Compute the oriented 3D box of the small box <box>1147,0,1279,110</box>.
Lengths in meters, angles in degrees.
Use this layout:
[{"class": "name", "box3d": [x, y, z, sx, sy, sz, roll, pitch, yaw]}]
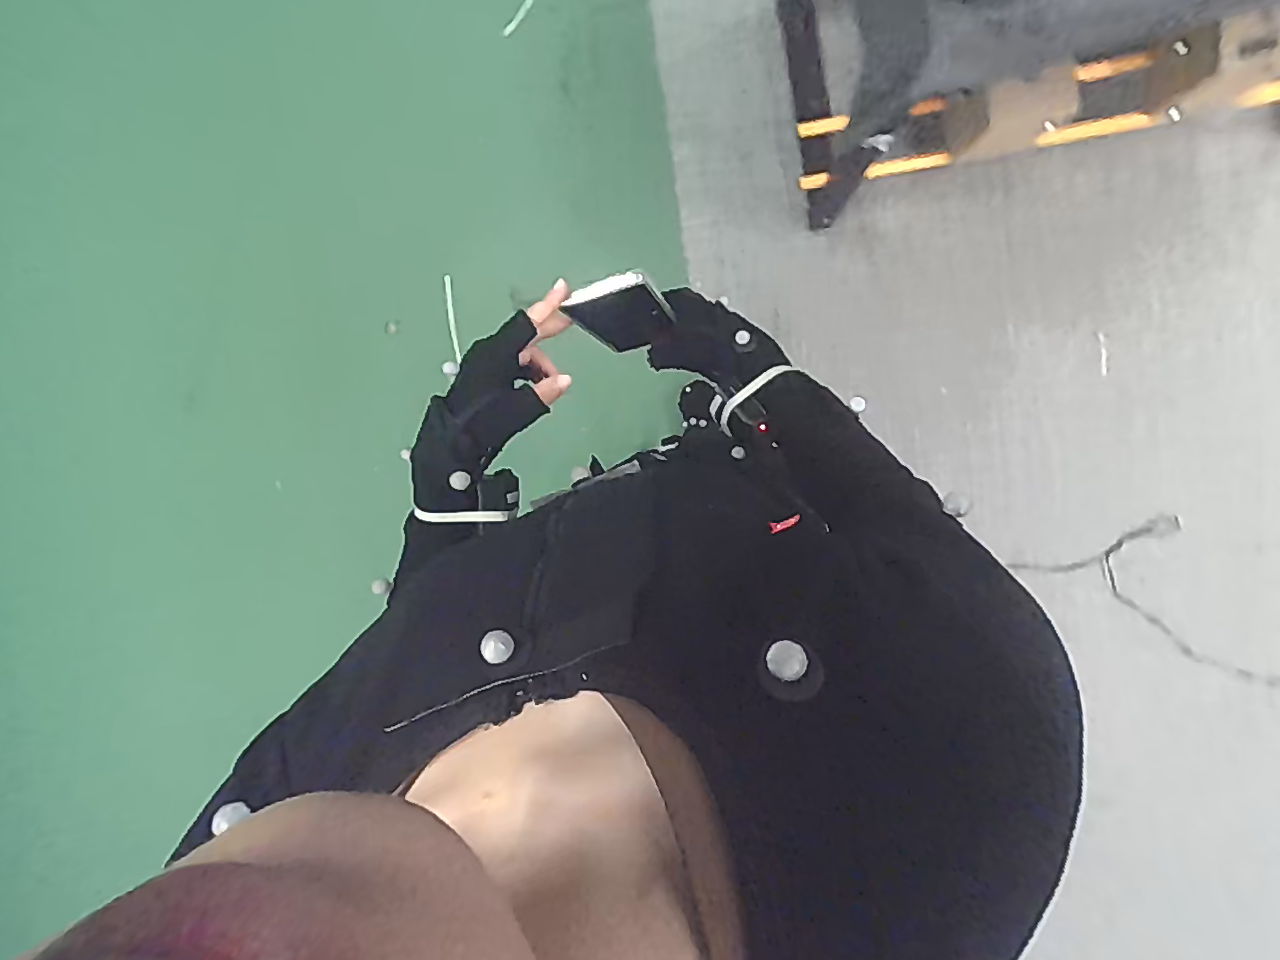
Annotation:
[{"class": "small box", "box3d": [1.190, -0.892, 1.104, 0.168, 0.176, 0.179, -6, 95, 5]}]
